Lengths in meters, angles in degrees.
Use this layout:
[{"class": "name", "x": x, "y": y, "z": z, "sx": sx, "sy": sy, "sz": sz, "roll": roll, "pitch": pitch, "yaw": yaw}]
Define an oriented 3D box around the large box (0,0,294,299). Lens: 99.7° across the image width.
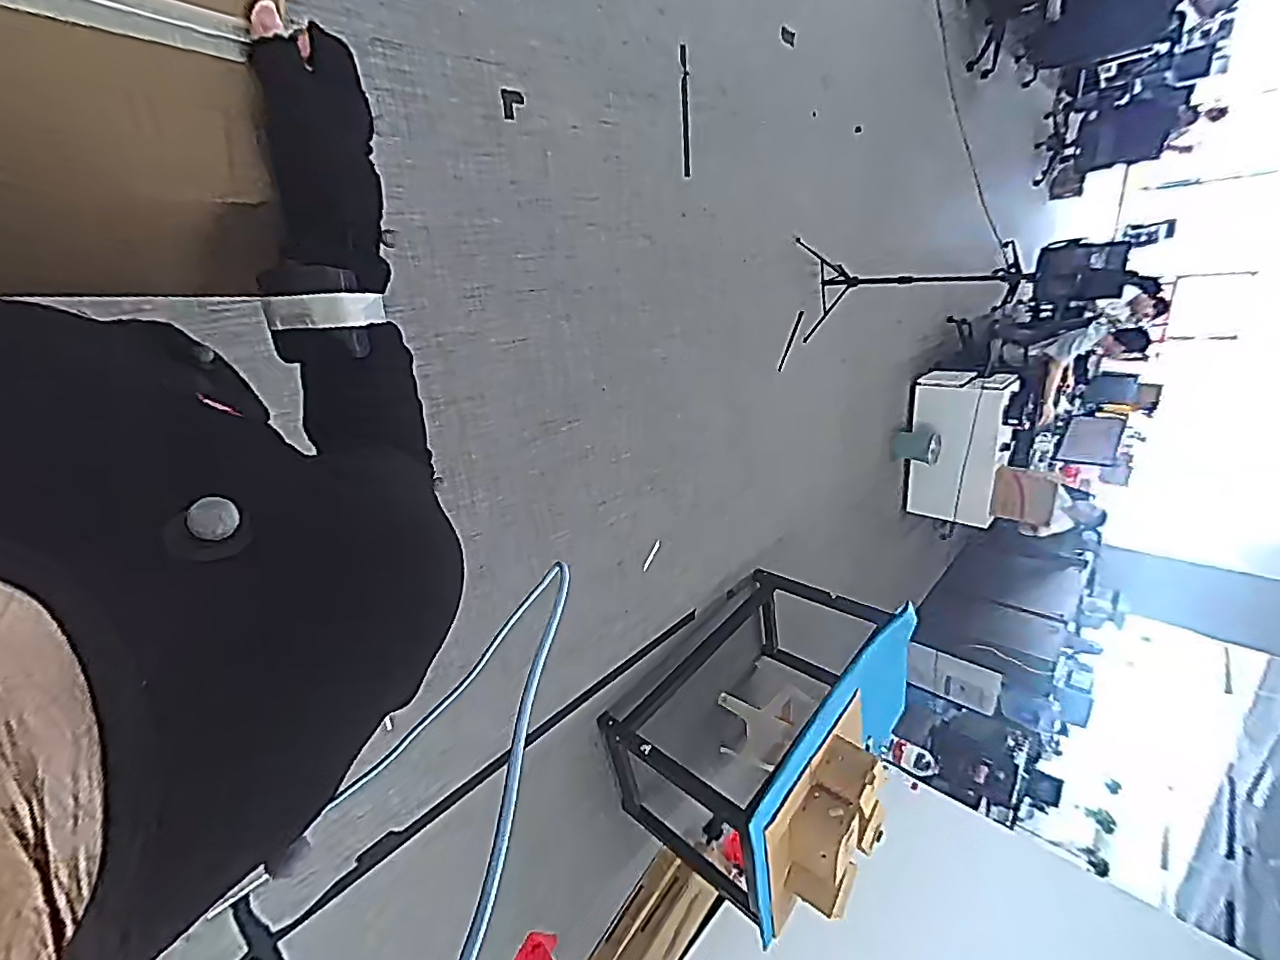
[{"class": "large box", "x": -0.460, "y": -0.306, "z": 0.274, "sx": 0.408, "sy": 0.320, "sz": 0.320, "roll": -18, "pitch": 142, "yaw": -42}]
